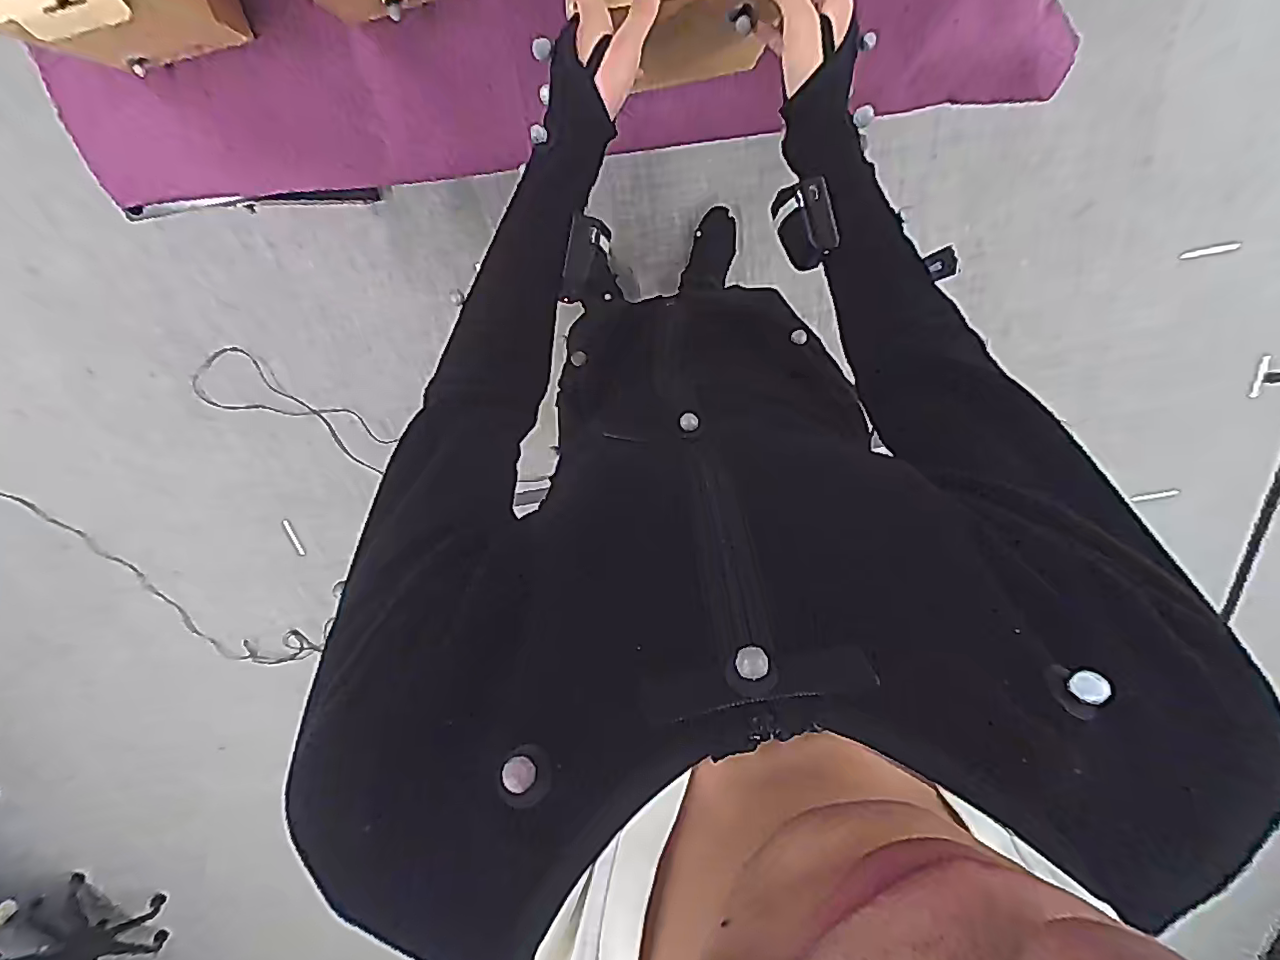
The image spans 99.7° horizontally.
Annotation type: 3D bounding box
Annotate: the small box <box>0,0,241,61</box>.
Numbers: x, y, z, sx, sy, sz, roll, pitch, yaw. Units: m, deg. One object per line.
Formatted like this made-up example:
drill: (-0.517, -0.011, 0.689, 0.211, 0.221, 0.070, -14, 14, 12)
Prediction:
small box: (-0.558, -0.551, 0.541, 0.168, 0.176, 0.179, -12, 115, 3)

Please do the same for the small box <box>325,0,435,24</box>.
small box: (-0.288, -0.600, 0.530, 0.168, 0.176, 0.179, -14, 116, 6)

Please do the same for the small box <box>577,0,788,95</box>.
small box: (0.027, -0.489, 0.492, 0.179, 0.176, 0.168, -12, 105, 0)
